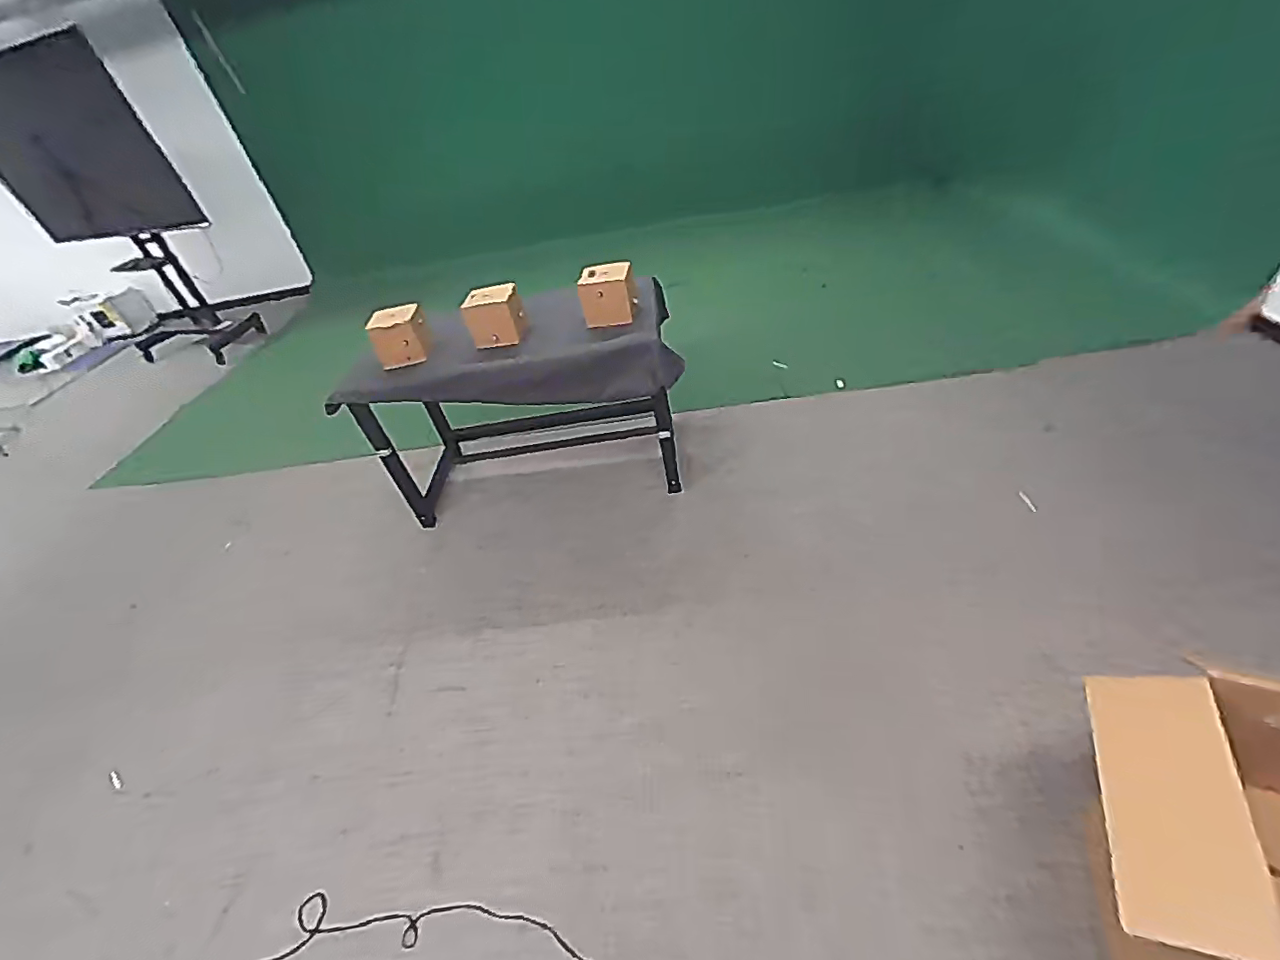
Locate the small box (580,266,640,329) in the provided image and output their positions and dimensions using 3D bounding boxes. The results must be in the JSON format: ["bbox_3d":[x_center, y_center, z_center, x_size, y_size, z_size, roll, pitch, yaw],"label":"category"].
[{"bbox_3d":[-0.105,-0.674,2.012,0.179,0.176,0.168,-3,41,11],"label":"small box"}]

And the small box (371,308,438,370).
[{"bbox_3d":[-0.892,-0.534,2.067,0.168,0.176,0.179,-12,37,-1],"label":"small box"}]

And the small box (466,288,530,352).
[{"bbox_3d":[-0.530,-0.605,2.051,0.179,0.176,0.168,-6,40,8],"label":"small box"}]
